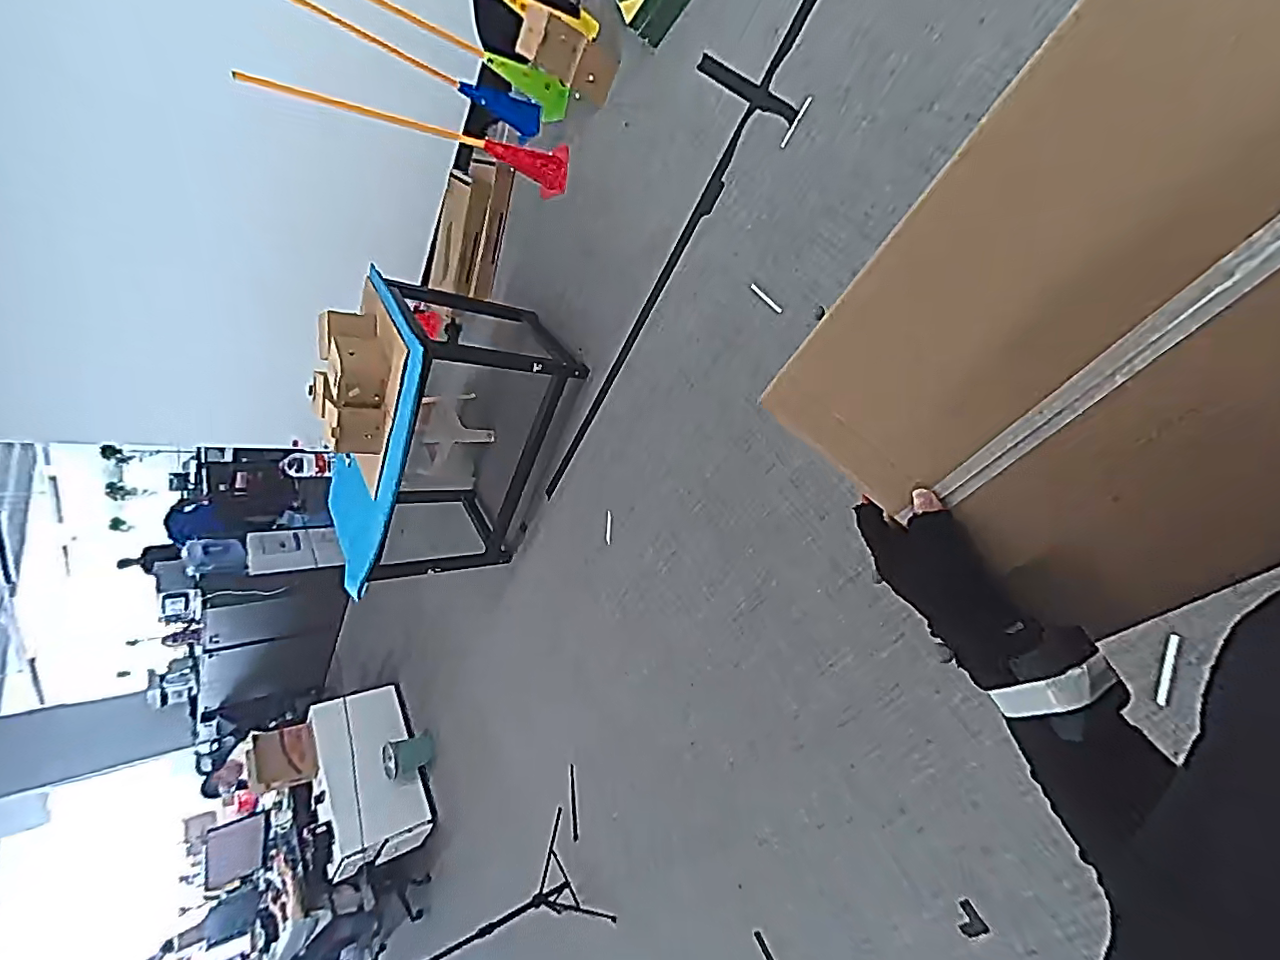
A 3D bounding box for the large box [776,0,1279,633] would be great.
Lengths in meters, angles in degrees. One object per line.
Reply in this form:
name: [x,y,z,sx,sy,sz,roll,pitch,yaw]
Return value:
large box: [0.386,-0.160,0.435,0.320,0.320,0.408,41,132,7]
